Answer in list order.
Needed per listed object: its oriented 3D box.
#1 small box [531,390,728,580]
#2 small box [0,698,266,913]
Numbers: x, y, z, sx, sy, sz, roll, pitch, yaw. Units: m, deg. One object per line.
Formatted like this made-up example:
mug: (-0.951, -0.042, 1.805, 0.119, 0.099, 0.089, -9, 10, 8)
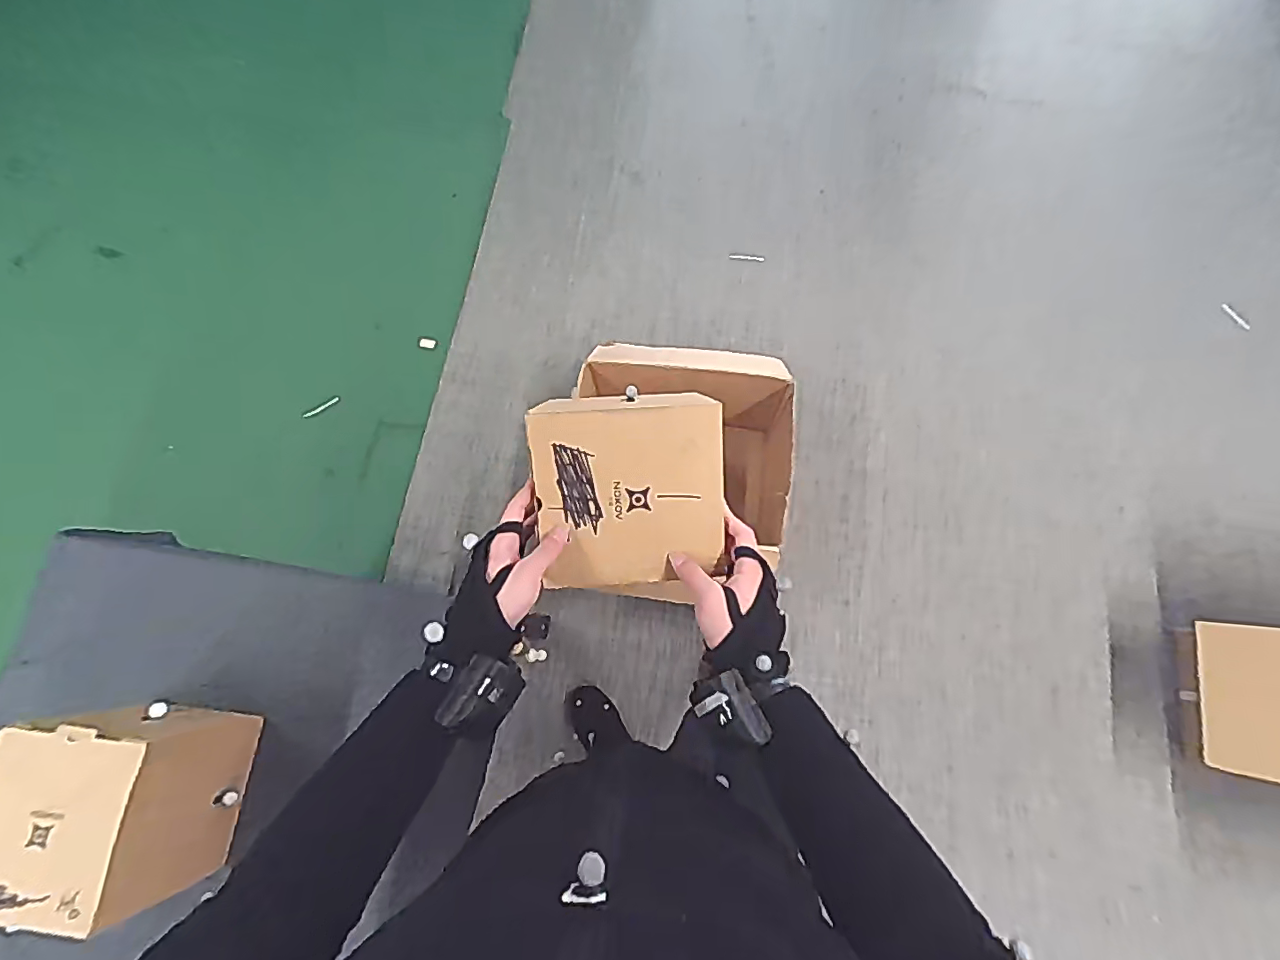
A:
small box: (-0.012, -0.005, 0.570, 0.179, 0.176, 0.168, 0, 104, -2)
small box: (-0.587, 0.363, 0.638, 0.168, 0.176, 0.179, 3, 75, 3)
